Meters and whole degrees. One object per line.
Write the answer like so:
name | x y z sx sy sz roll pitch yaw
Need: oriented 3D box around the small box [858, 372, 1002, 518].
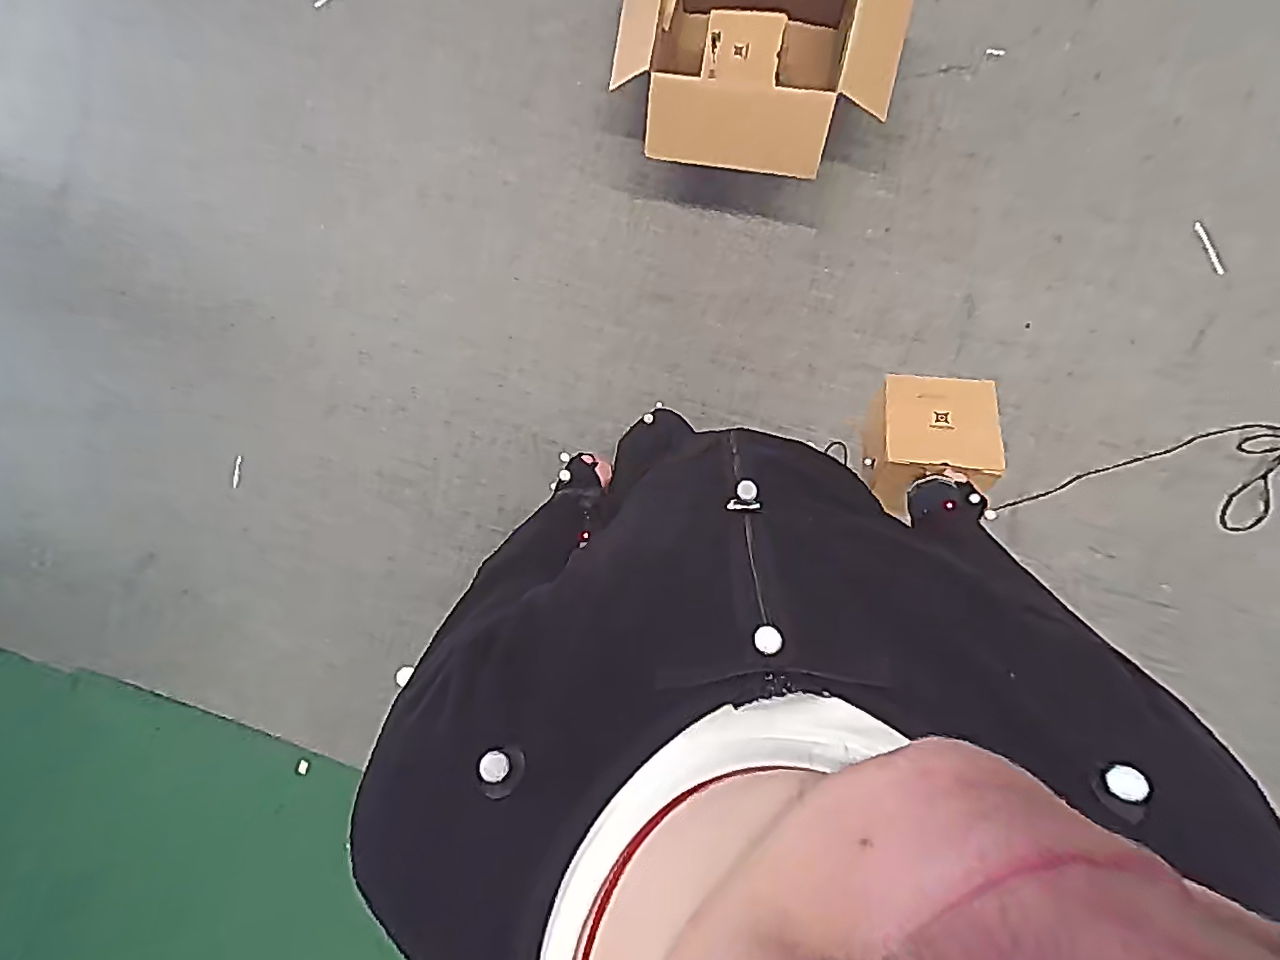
small box | 0.470 -0.054 0.903 0.168 0.176 0.179 7 59 11
